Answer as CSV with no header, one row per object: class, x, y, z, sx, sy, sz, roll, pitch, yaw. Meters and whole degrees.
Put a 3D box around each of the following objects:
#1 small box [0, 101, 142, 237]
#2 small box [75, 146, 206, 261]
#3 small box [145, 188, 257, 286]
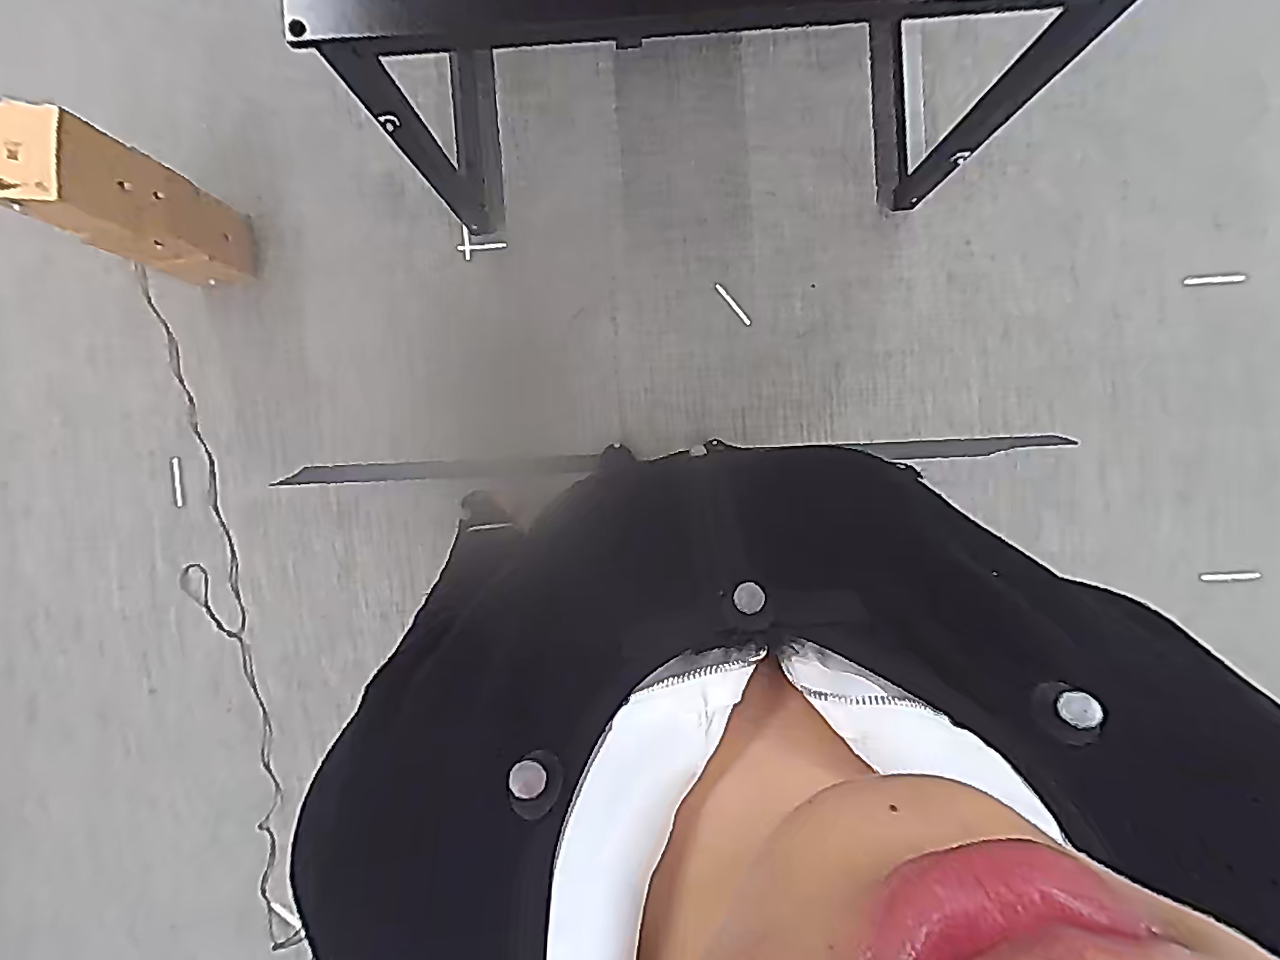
small box,-1.146,-0.611,1.075,0.168,0.176,0.179,4,92,0
small box,-1.146,-0.619,1.239,0.168,0.176,0.179,-10,92,1
small box,-1.140,-0.623,1.401,0.168,0.176,0.179,-7,94,2
